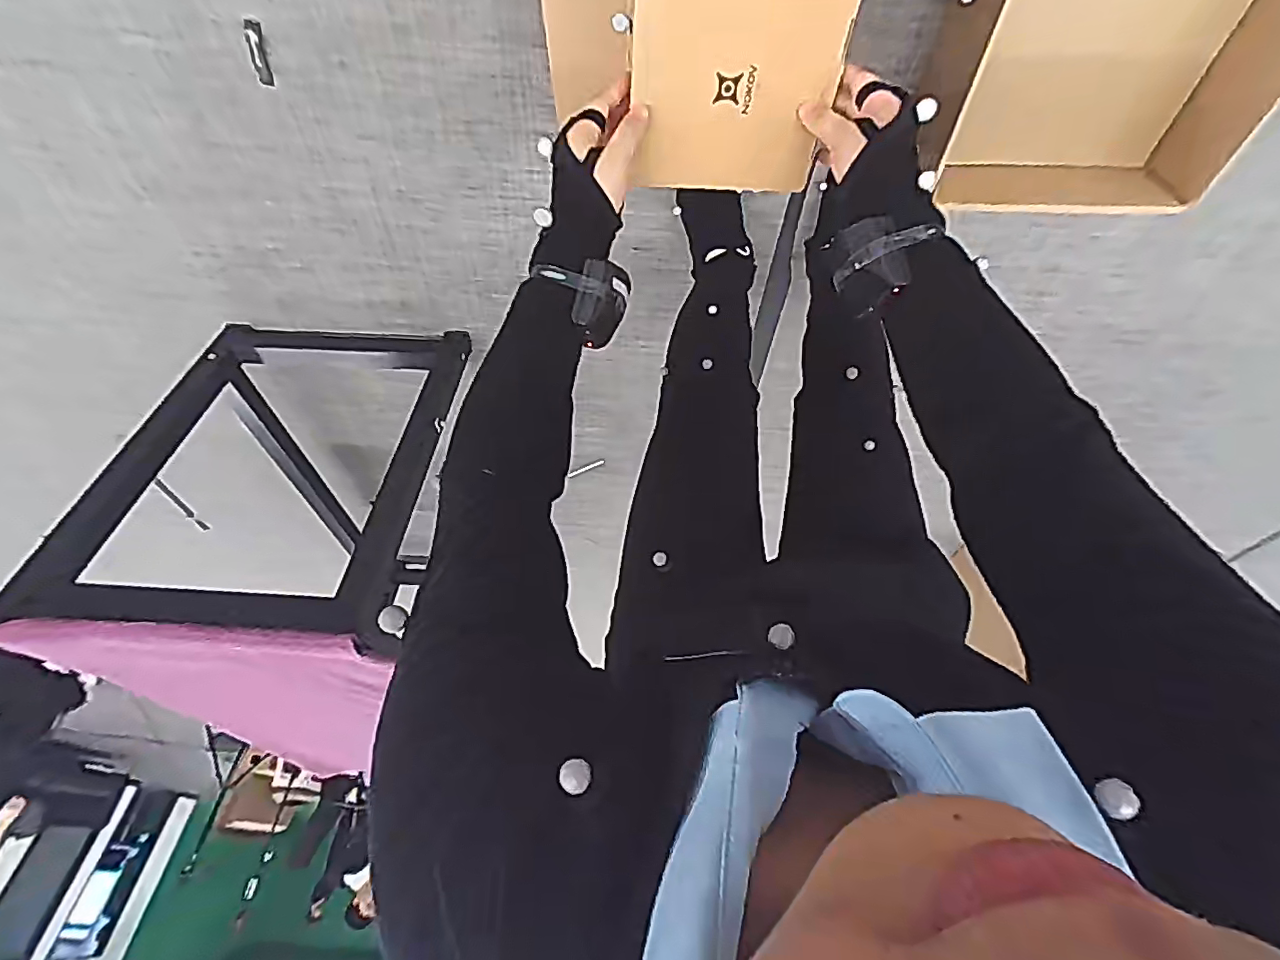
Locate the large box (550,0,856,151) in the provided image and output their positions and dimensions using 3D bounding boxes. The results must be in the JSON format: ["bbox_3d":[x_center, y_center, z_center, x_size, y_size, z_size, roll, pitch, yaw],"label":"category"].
[{"bbox_3d":[0.064,-0.642,0.583,0.320,0.320,0.408,1,143,3],"label":"large box"}]
